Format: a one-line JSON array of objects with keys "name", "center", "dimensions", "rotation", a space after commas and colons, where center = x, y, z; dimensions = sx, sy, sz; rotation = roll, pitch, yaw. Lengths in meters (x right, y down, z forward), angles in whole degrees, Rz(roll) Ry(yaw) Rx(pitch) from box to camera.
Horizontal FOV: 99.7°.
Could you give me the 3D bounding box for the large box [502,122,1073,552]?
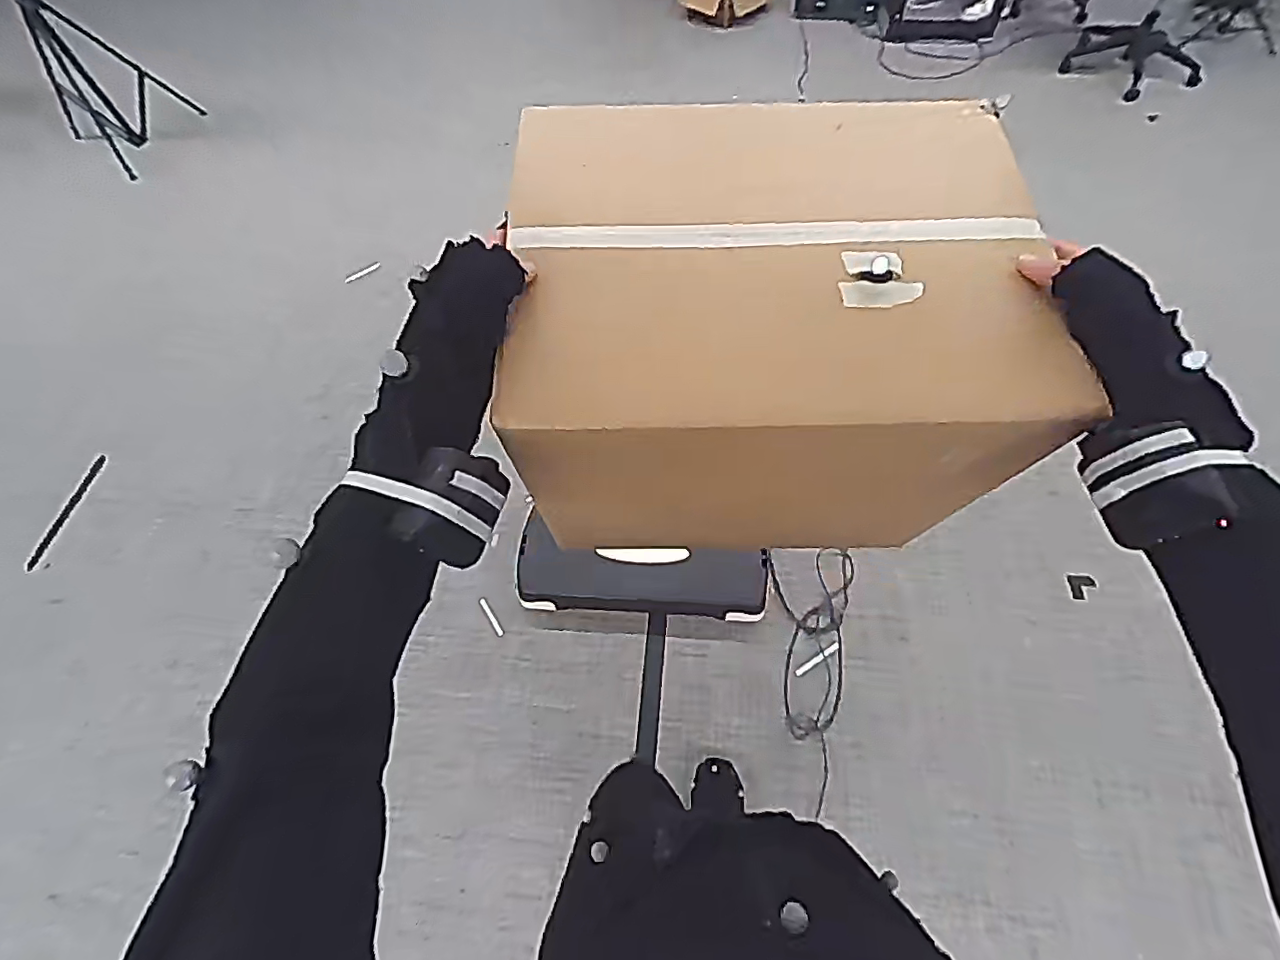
[{"name": "large box", "center": [0.097, -0.118, 0.564], "dimensions": [0.408, 0.320, 0.320], "rotation": [-1, 68, 0]}]
